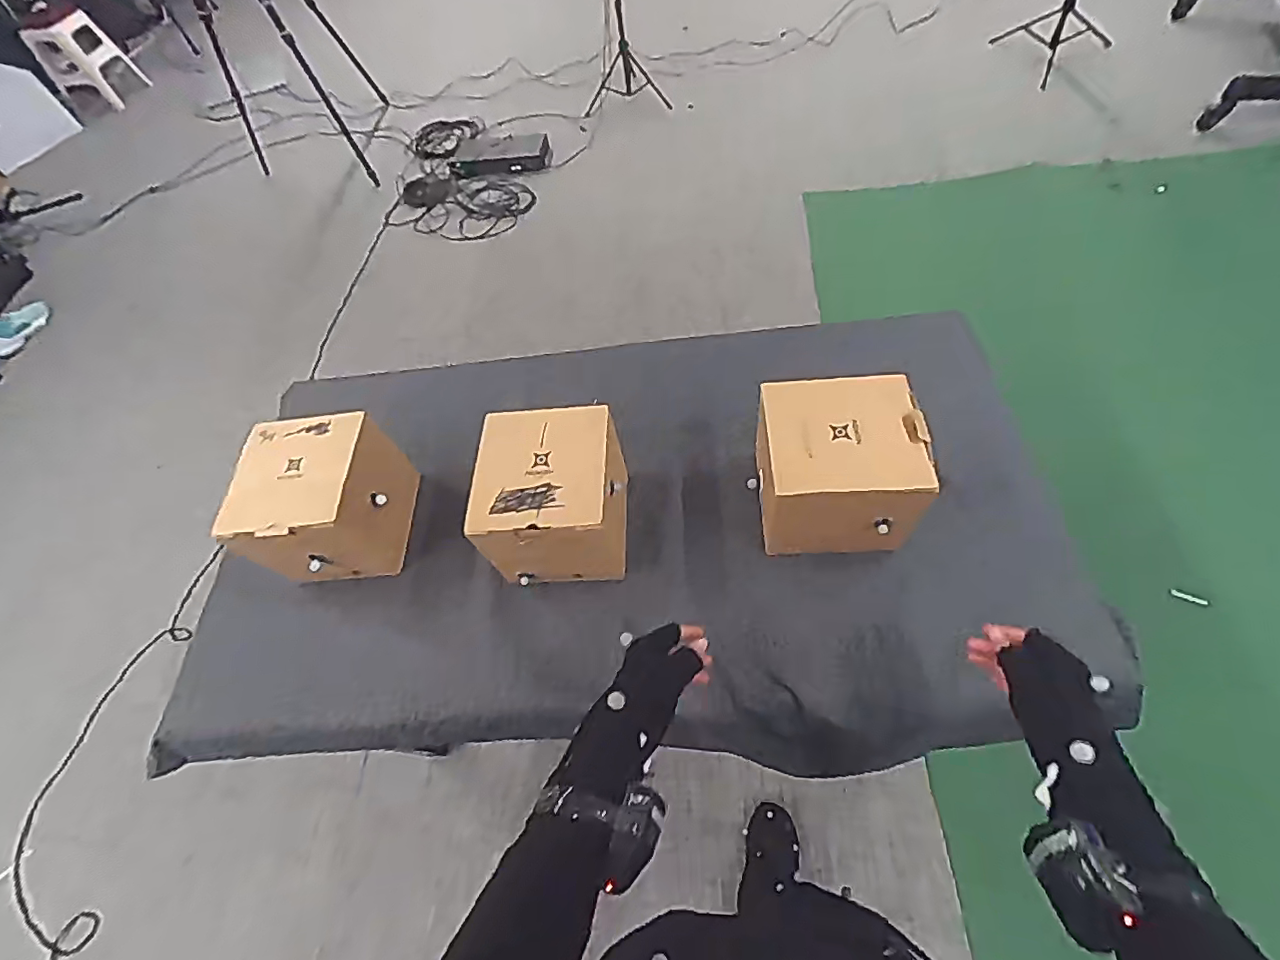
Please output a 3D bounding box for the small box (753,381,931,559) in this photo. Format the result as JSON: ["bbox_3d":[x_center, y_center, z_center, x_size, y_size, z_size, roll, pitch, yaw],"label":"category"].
[{"bbox_3d":[0.244,-0.006,0.704,0.179,0.176,0.168,-5,57,8],"label":"small box"}]

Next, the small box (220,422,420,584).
[{"bbox_3d":[-0.442,0.042,0.781,0.168,0.176,0.179,-6,59,5],"label":"small box"}]

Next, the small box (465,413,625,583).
[{"bbox_3d":[-0.114,0.034,0.734,0.168,0.176,0.179,-4,58,7],"label":"small box"}]
